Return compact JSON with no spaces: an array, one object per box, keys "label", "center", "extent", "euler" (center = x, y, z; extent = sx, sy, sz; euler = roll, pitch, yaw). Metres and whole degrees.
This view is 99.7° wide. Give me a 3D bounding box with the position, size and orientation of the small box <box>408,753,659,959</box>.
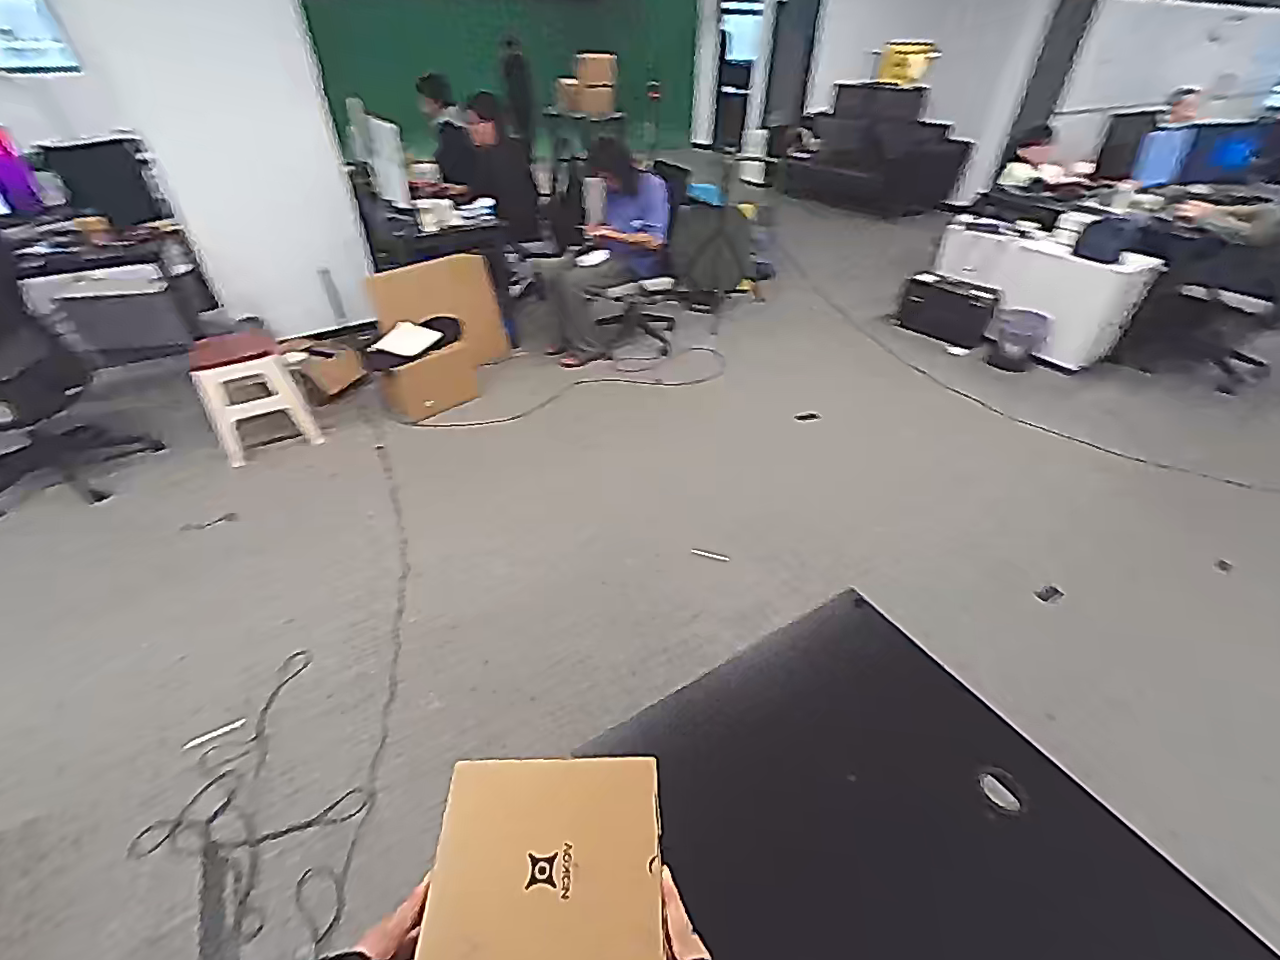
[{"label":"small box","center":[-0.079,0.358,0.469],"extent":[0.179,0.176,0.168],"euler":[0,41,-5]}]
